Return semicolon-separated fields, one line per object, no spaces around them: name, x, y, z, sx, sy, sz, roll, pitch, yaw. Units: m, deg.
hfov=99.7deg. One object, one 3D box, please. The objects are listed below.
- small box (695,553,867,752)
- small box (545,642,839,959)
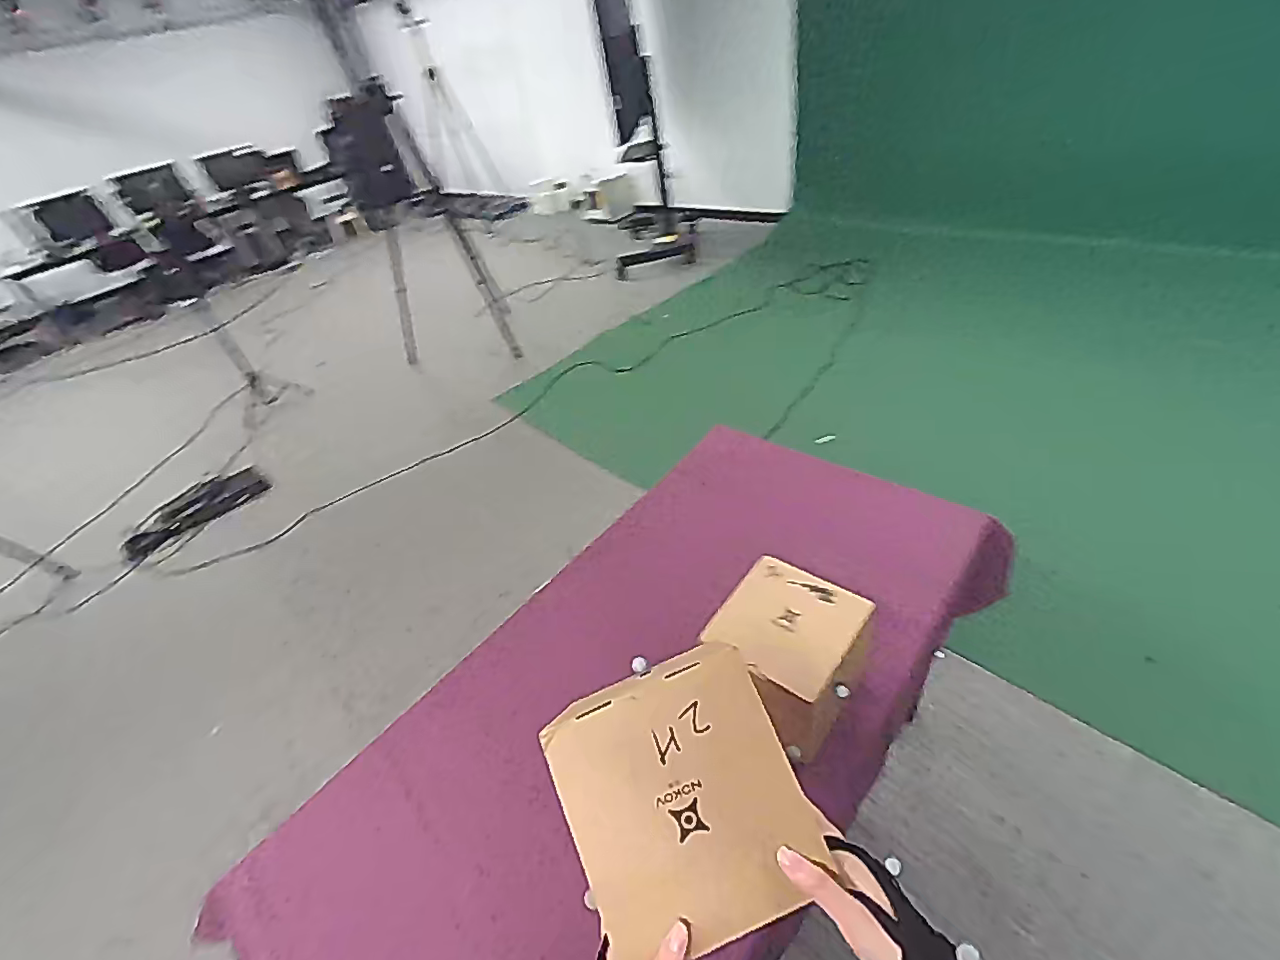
small box;0.203;0.244;0.768;0.168;0.176;0.179;23;53;36
small box;0.038;0.253;0.467;0.168;0.176;0.179;-22;75;-3
